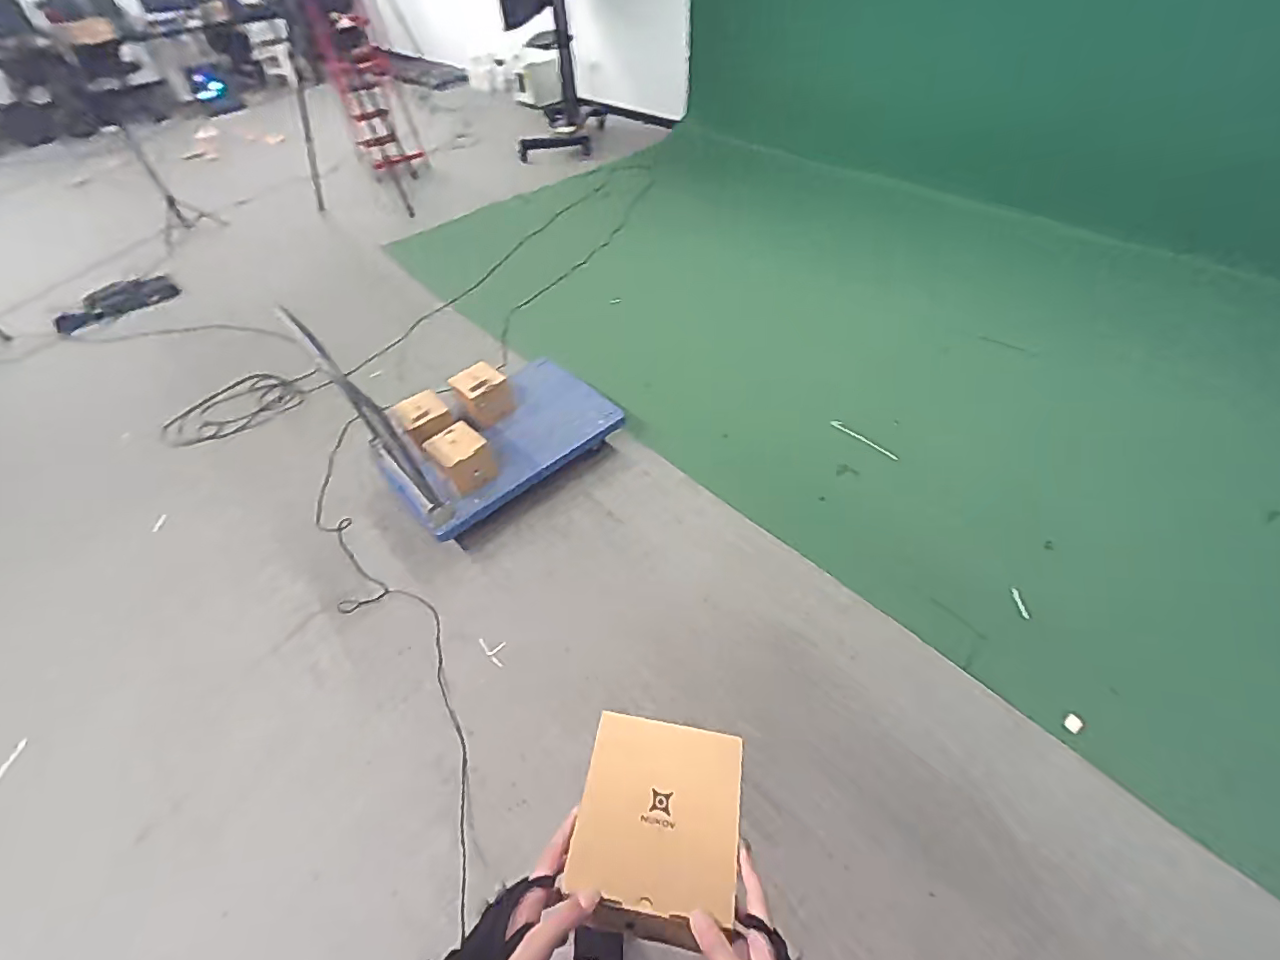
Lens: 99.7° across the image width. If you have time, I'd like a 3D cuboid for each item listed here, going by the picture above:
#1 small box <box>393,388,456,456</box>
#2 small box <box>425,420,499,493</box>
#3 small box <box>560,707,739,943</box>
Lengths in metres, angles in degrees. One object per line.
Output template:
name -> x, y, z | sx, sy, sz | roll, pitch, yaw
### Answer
small box -> -0.809, -0.216, 2.075 | 0.168, 0.176, 0.179 | -33, 54, -23
small box -> -0.633, -0.077, 1.939 | 0.168, 0.176, 0.179 | -37, 57, -26
small box -> 0.014, 0.392, 0.617 | 0.168, 0.176, 0.179 | 8, 45, 6
